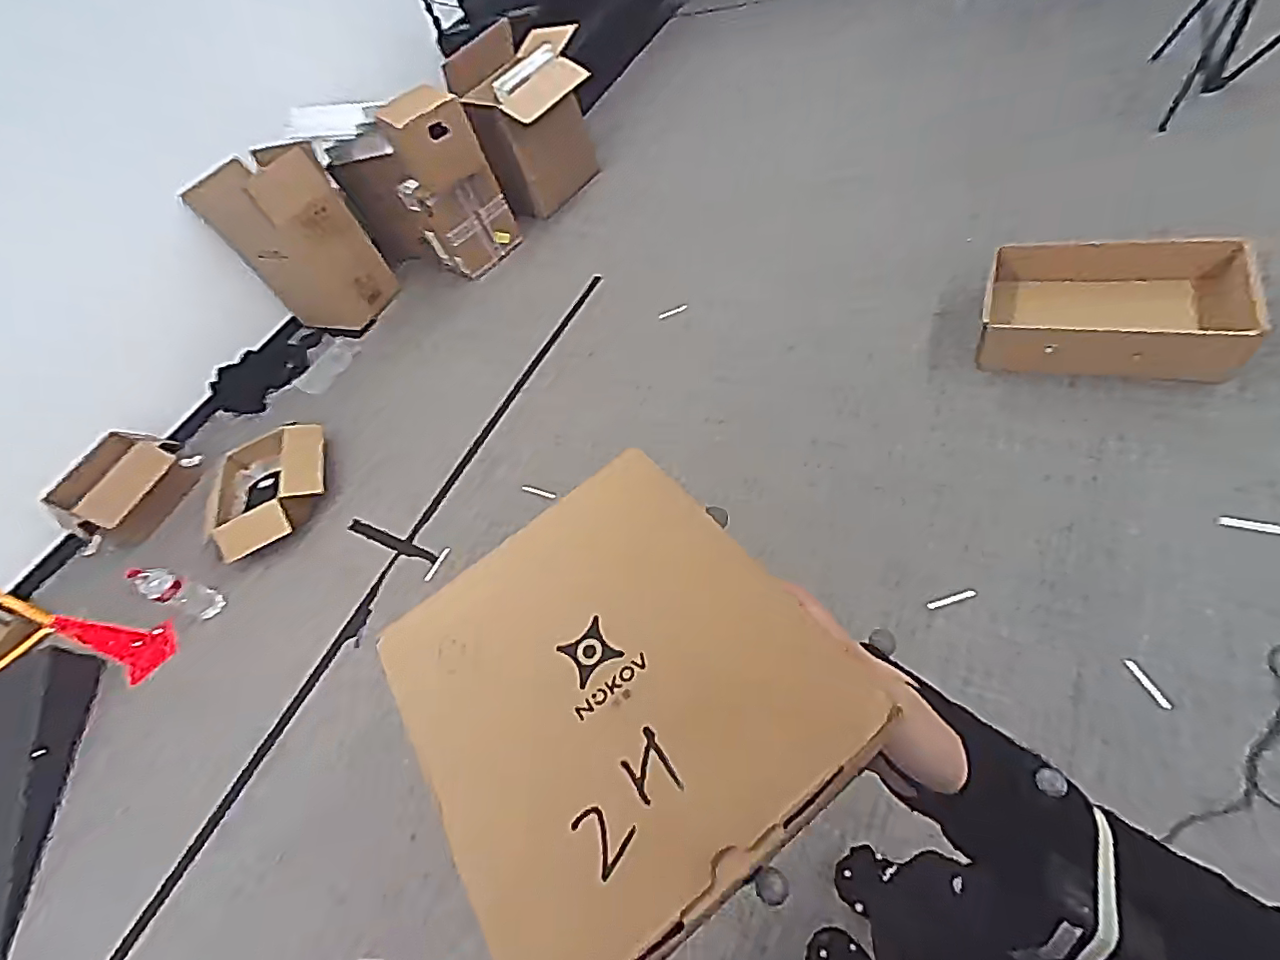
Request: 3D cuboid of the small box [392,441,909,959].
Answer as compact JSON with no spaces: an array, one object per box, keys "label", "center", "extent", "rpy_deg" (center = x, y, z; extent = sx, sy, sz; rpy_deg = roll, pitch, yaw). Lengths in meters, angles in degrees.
[{"label":"small box","center":[0.006,0.119,0.296],"extent":[0.168,0.176,0.179],"rpy_deg":[-36,55,-9]}]
